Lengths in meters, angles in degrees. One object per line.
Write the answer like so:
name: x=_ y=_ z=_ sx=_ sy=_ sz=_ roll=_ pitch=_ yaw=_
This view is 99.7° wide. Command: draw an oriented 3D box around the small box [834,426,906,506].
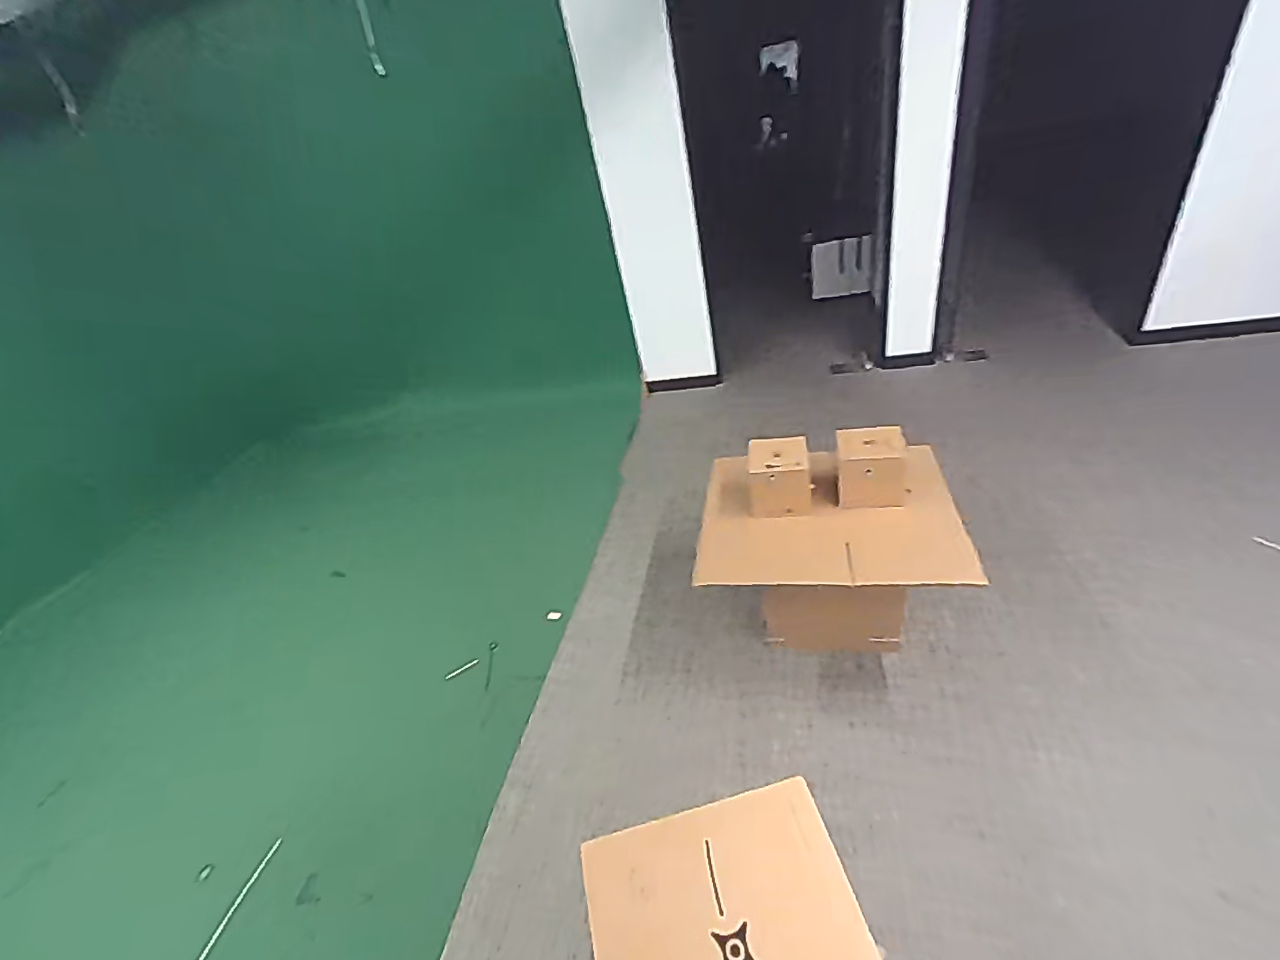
small box: x=0.661 y=-0.036 z=1.559 sx=0.179 sy=0.176 sz=0.168 roll=-3 pitch=35 yaw=19

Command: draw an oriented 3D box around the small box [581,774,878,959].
small box: x=0.066 y=0.342 z=0.375 sx=0.168 sy=0.176 sz=0.179 roll=-14 pitch=44 yaw=-5

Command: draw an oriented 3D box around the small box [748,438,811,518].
small box: x=0.415 y=-0.005 z=1.608 sx=0.168 sy=0.176 sz=0.179 roll=-5 pitch=34 yaw=16
